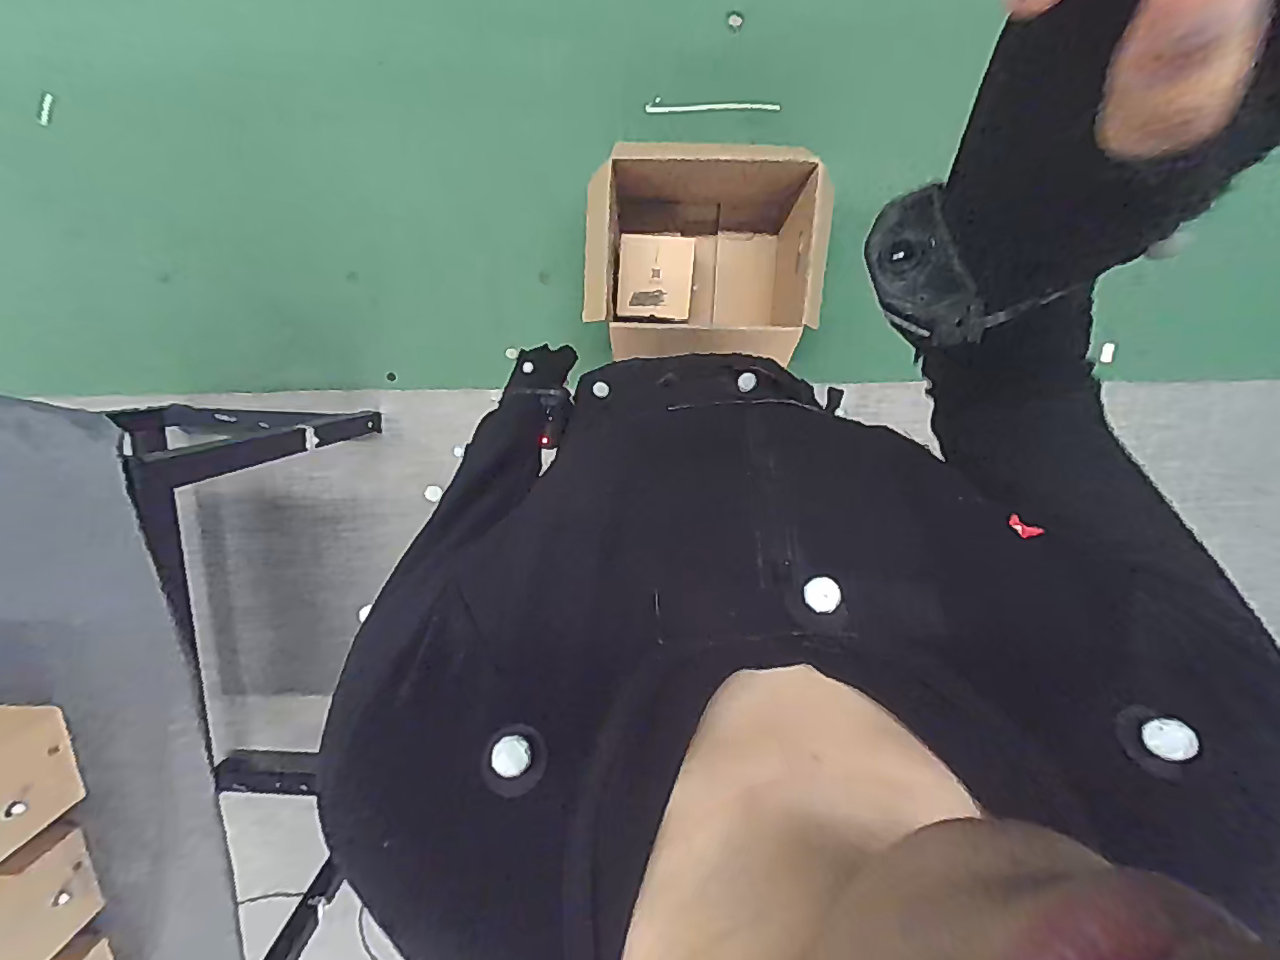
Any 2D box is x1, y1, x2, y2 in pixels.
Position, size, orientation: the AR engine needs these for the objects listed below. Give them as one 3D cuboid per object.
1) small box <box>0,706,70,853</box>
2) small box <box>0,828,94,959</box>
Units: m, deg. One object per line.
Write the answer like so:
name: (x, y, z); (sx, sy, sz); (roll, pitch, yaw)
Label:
small box: (-0.982, 0.442, 0.772); (0.179, 0.176, 0.168); (-1, 103, 2)
small box: (-1.007, 0.660, 0.820); (0.179, 0.176, 0.168); (-2, 103, 1)
